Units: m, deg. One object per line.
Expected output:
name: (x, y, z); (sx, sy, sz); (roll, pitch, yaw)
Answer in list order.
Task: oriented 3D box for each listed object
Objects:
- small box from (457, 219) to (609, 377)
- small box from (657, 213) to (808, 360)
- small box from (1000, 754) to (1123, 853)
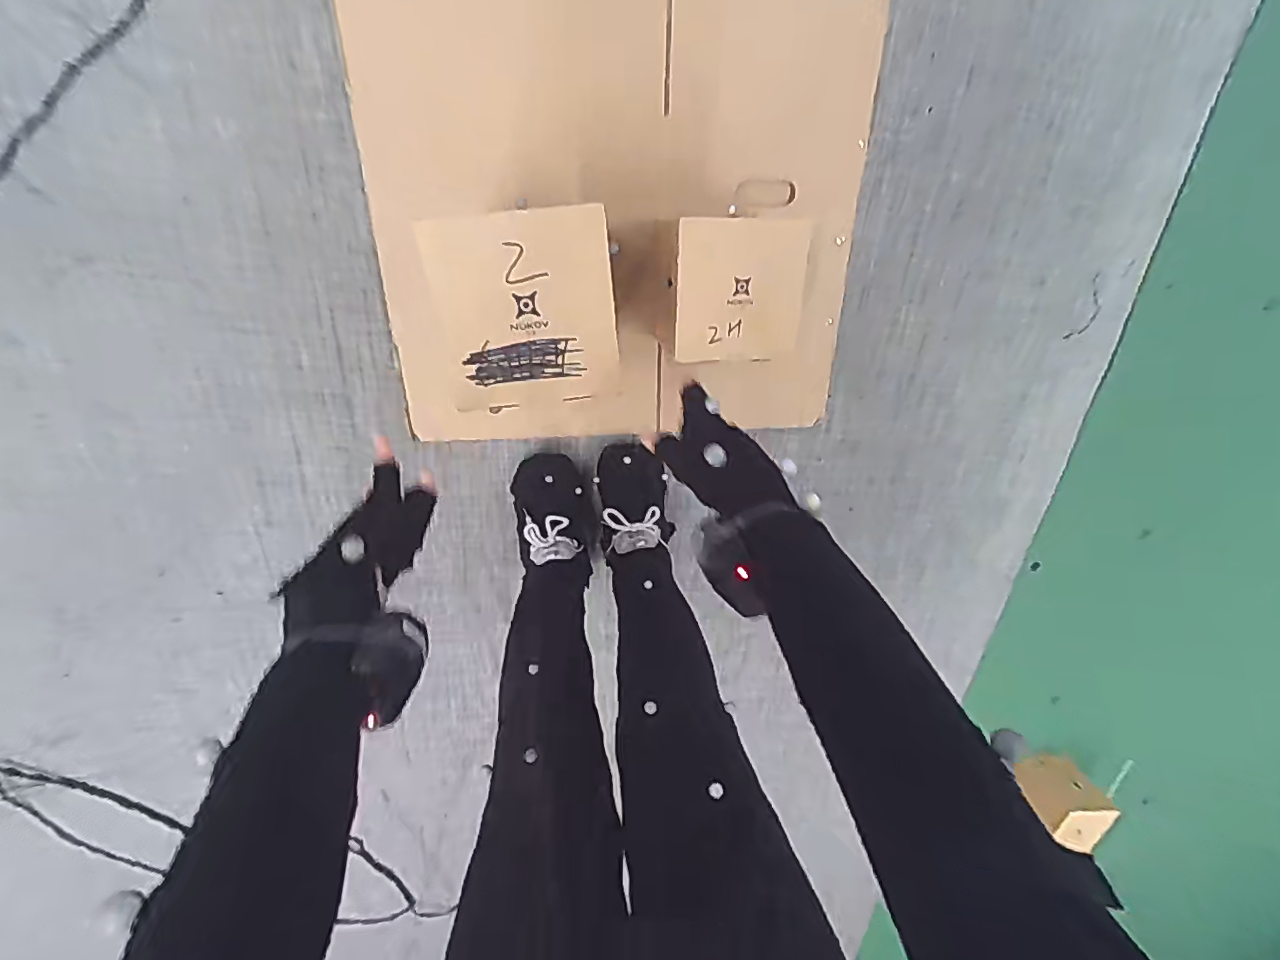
small box: (-0.133, -0.250, 0.728); (0.168, 0.176, 0.179); (-7, 115, -5)
small box: (0.115, -0.274, 0.757); (0.168, 0.176, 0.179); (-3, 116, -6)
small box: (1.127, 0.867, 1.463); (0.168, 0.176, 0.179); (6, 114, -12)
